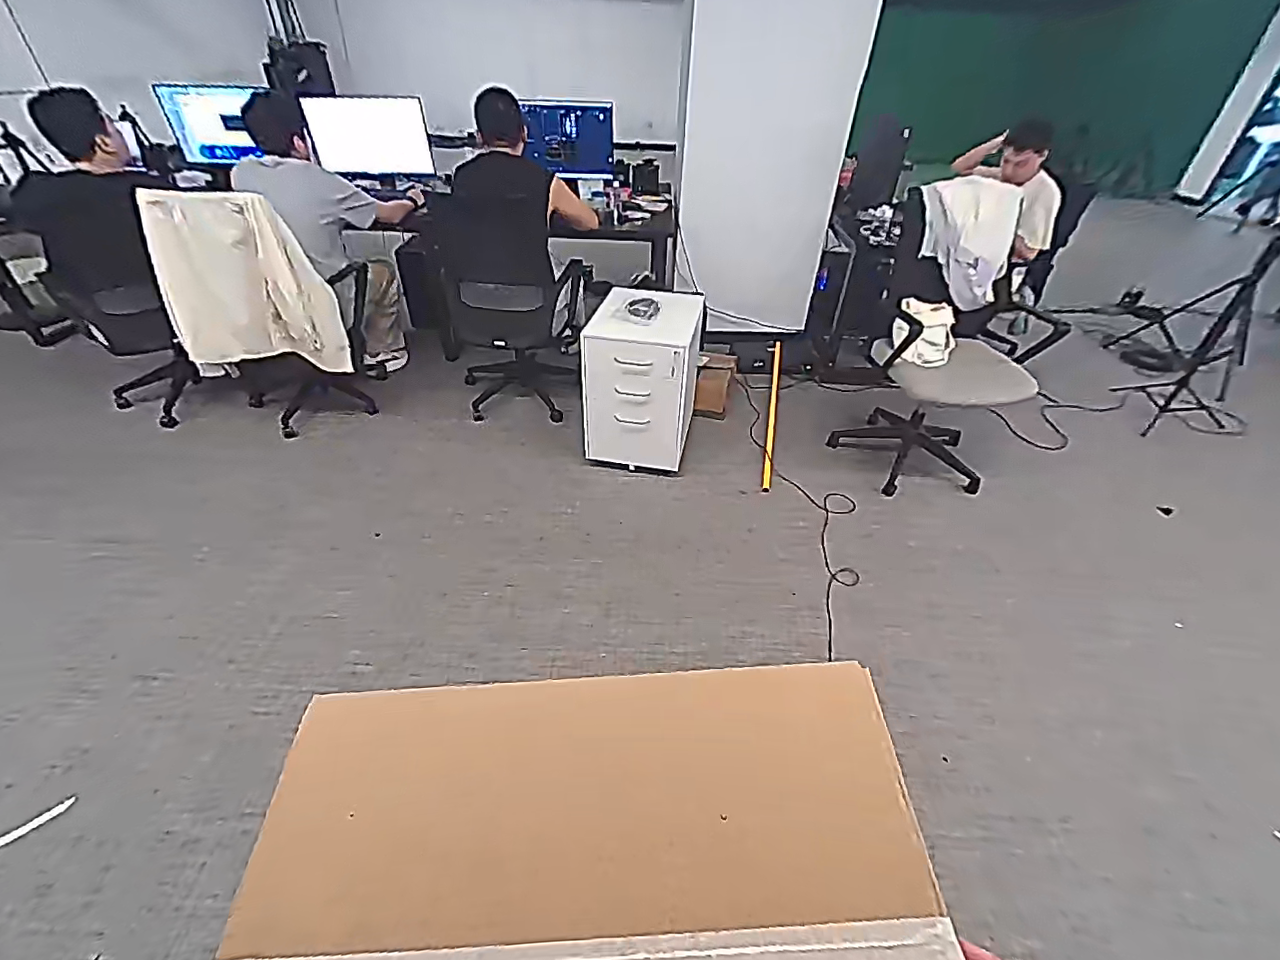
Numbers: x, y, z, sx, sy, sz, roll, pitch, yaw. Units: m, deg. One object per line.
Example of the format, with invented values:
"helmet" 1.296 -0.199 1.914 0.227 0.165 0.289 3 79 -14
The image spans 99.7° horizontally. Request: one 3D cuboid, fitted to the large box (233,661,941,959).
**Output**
"large box" -0.024 0.361 0.412 0.408 0.320 0.320 -4 47 1
